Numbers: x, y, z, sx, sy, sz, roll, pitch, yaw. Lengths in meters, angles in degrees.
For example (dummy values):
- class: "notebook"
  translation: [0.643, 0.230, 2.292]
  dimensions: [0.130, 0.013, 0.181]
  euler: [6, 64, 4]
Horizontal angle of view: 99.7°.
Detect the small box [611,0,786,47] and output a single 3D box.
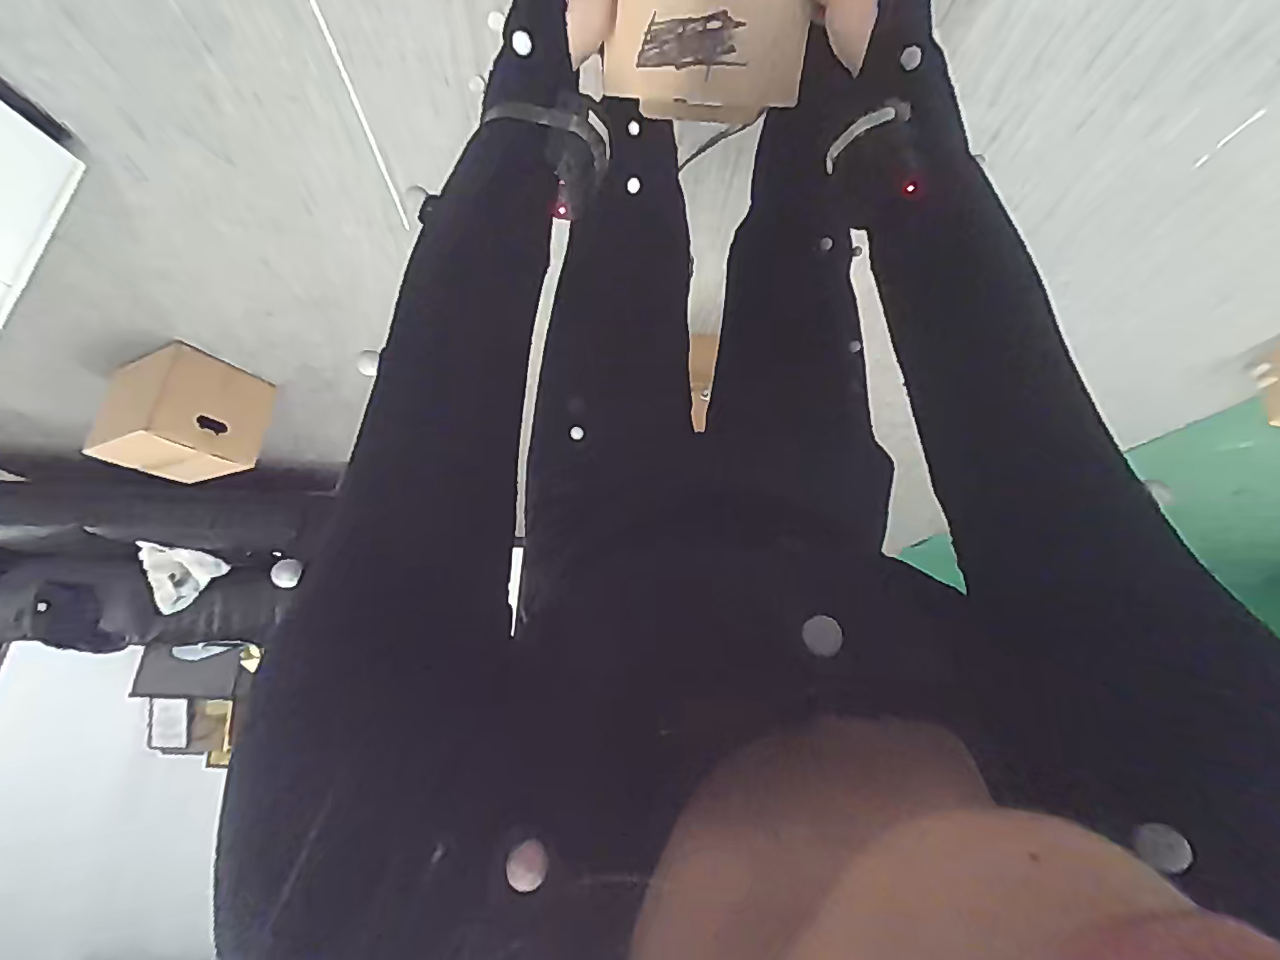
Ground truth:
- class: "small box"
  translation: [0.063, -0.534, 0.469]
  dimensions: [0.168, 0.176, 0.179]
  euler: [4, 170, 0]
